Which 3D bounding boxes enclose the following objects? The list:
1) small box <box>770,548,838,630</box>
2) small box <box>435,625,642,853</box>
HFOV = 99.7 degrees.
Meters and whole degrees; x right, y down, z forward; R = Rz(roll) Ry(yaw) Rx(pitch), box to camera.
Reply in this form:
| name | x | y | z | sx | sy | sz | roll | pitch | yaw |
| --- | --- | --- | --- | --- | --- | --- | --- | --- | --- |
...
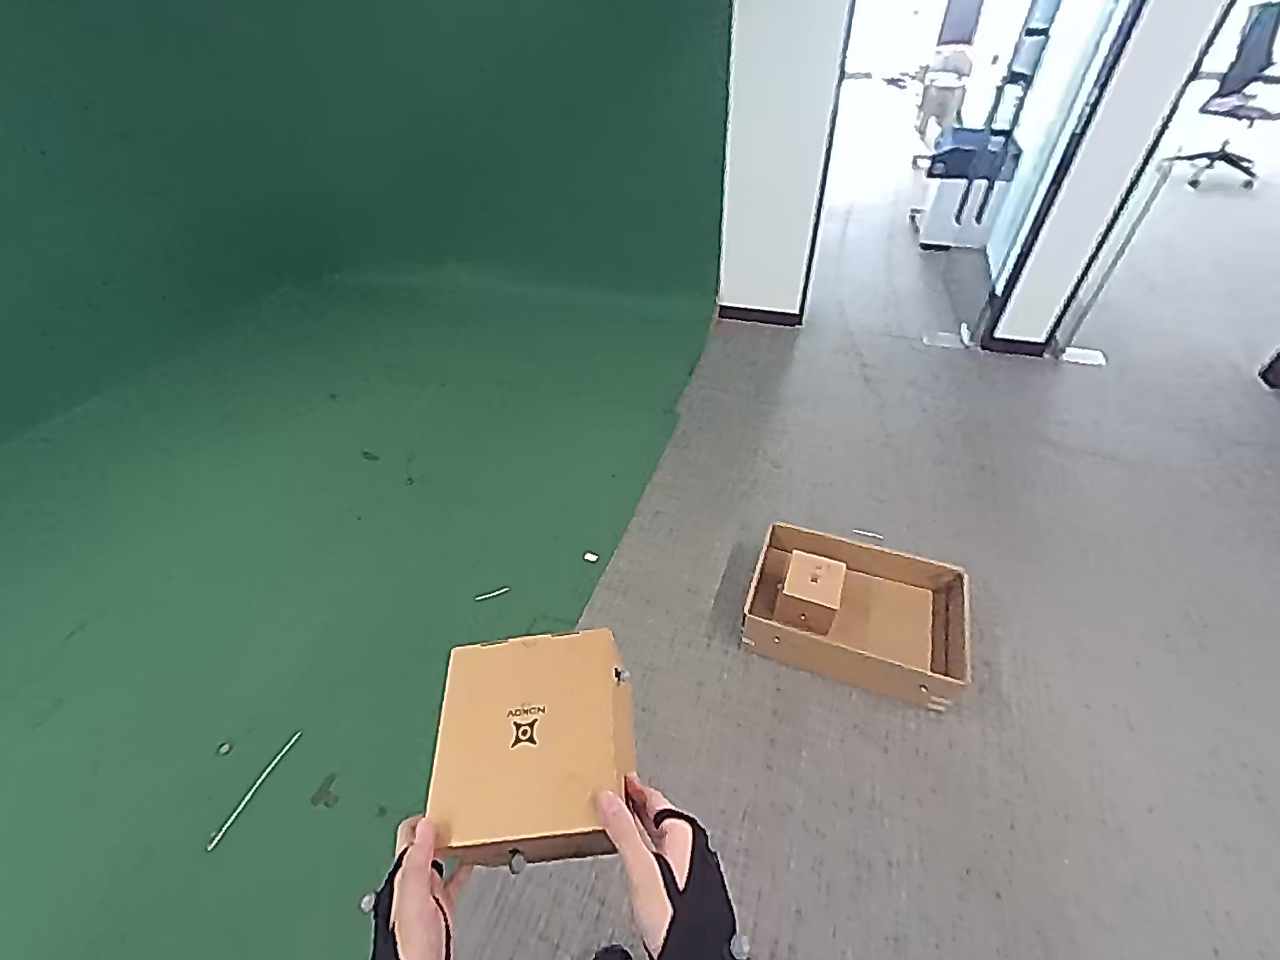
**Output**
| name | x | y | z | sx | sy | sz | roll | pitch | yaw |
| --- | --- | --- | --- | --- | --- | --- | --- | --- | --- |
| small box | 0.520 | 0.351 | 1.727 | 0.168 | 0.176 | 0.179 | 15 | 49 | 16 |
| small box | -0.092 | 0.277 | 0.568 | 0.168 | 0.176 | 0.179 | -8 | 49 | 1 |
